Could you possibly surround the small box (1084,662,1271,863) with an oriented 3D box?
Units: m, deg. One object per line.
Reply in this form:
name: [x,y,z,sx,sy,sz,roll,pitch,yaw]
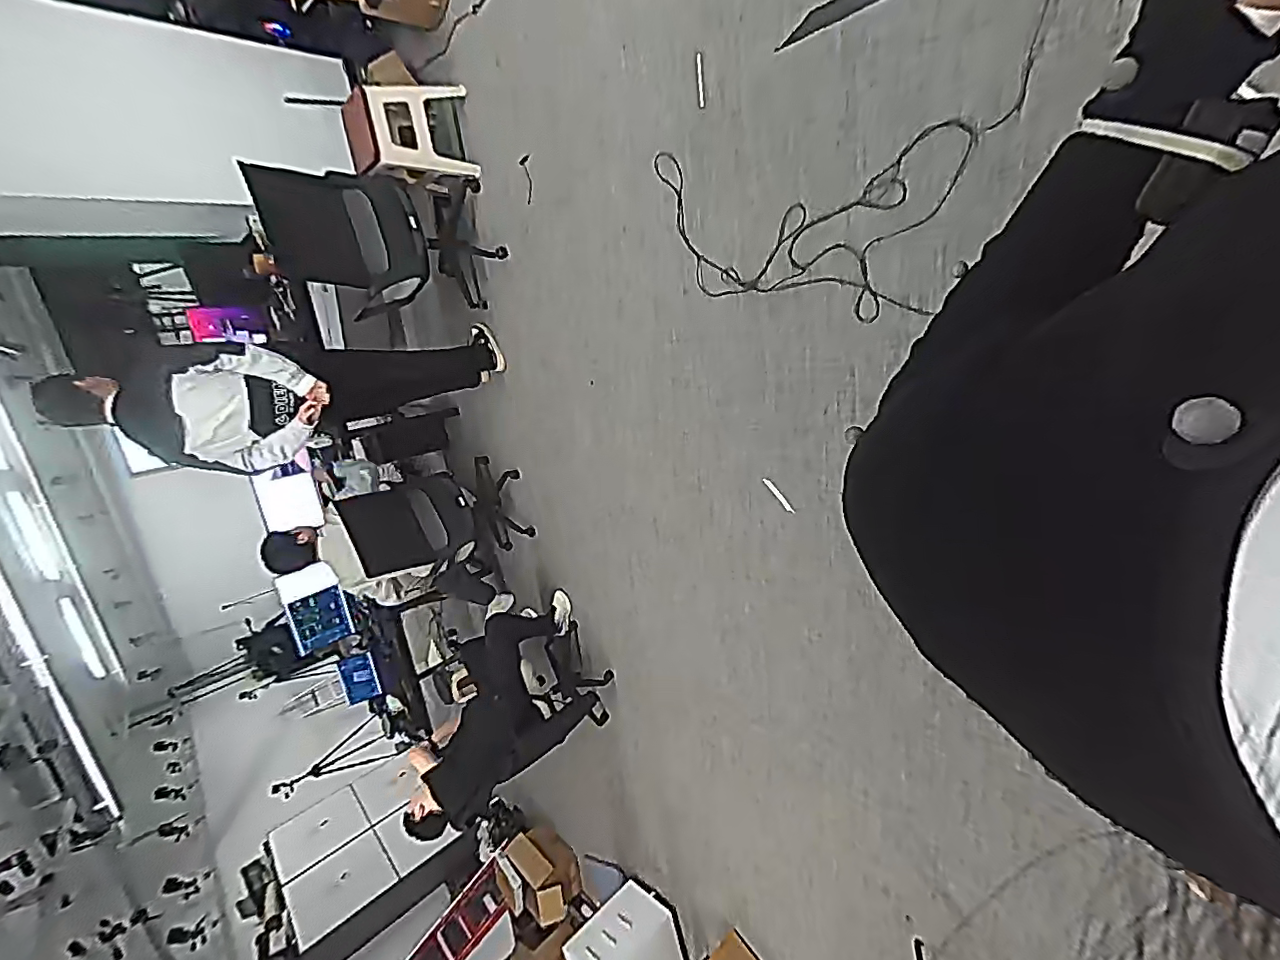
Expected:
small box: [0.773,0.386,0.781,0.179,0.176,0.168,2,105,50]
